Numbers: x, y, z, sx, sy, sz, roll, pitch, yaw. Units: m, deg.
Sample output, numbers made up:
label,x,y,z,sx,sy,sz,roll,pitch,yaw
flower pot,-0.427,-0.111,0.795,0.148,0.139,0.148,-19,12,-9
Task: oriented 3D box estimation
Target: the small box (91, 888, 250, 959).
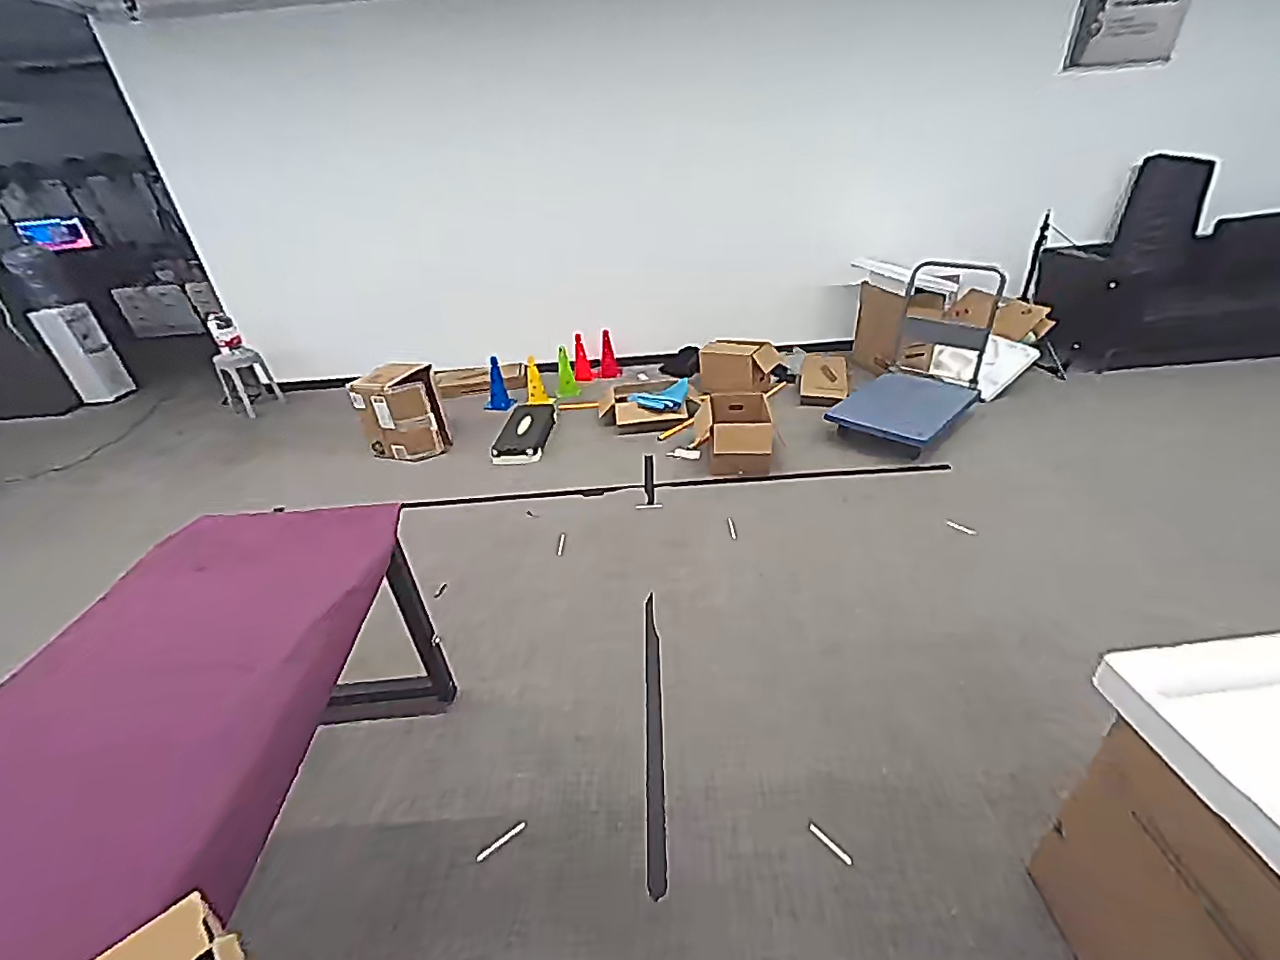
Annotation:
label,x,y,z,sx,sy,sz,roll,pitch,yaw
small box,-0.422,0.517,0.454,0.168,0.176,0.179,26,35,34
